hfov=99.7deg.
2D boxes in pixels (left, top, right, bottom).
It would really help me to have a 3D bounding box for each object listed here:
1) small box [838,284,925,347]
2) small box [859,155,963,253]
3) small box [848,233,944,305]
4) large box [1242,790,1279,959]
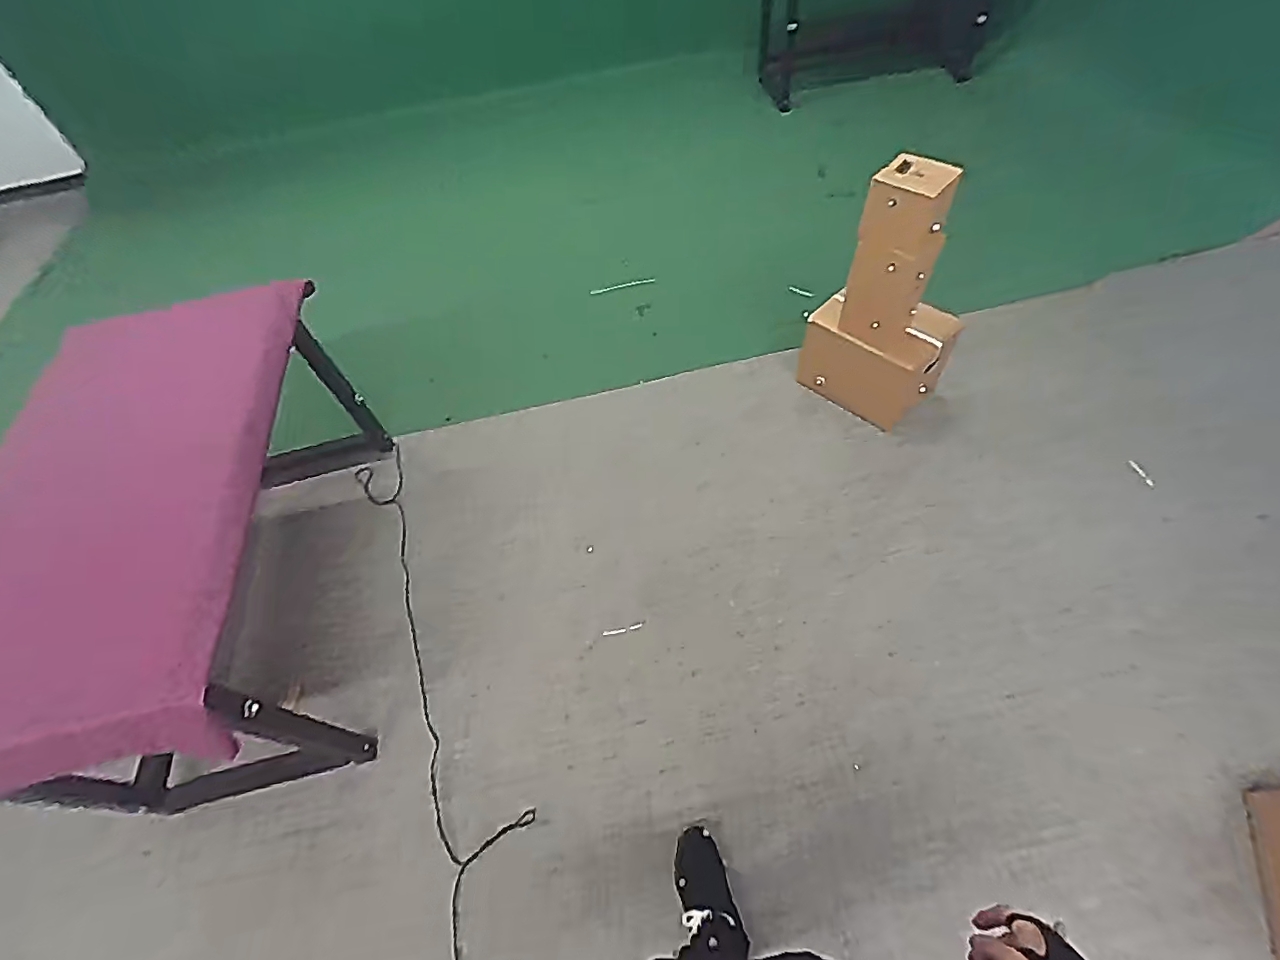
[{"bbox_3d":[0.772,-0.557,1.747,0.168,0.176,0.179,-40,60,-19],"label":"small box"},{"bbox_3d":[0.735,-0.756,1.488,0.179,0.176,0.168,36,66,26],"label":"small box"},{"bbox_3d":[0.756,-0.650,1.612,0.168,0.176,0.179,-37,59,-19],"label":"small box"},{"bbox_3d":[1.467,0.843,1.005,0.320,0.320,0.408,14,58,15],"label":"large box"}]
